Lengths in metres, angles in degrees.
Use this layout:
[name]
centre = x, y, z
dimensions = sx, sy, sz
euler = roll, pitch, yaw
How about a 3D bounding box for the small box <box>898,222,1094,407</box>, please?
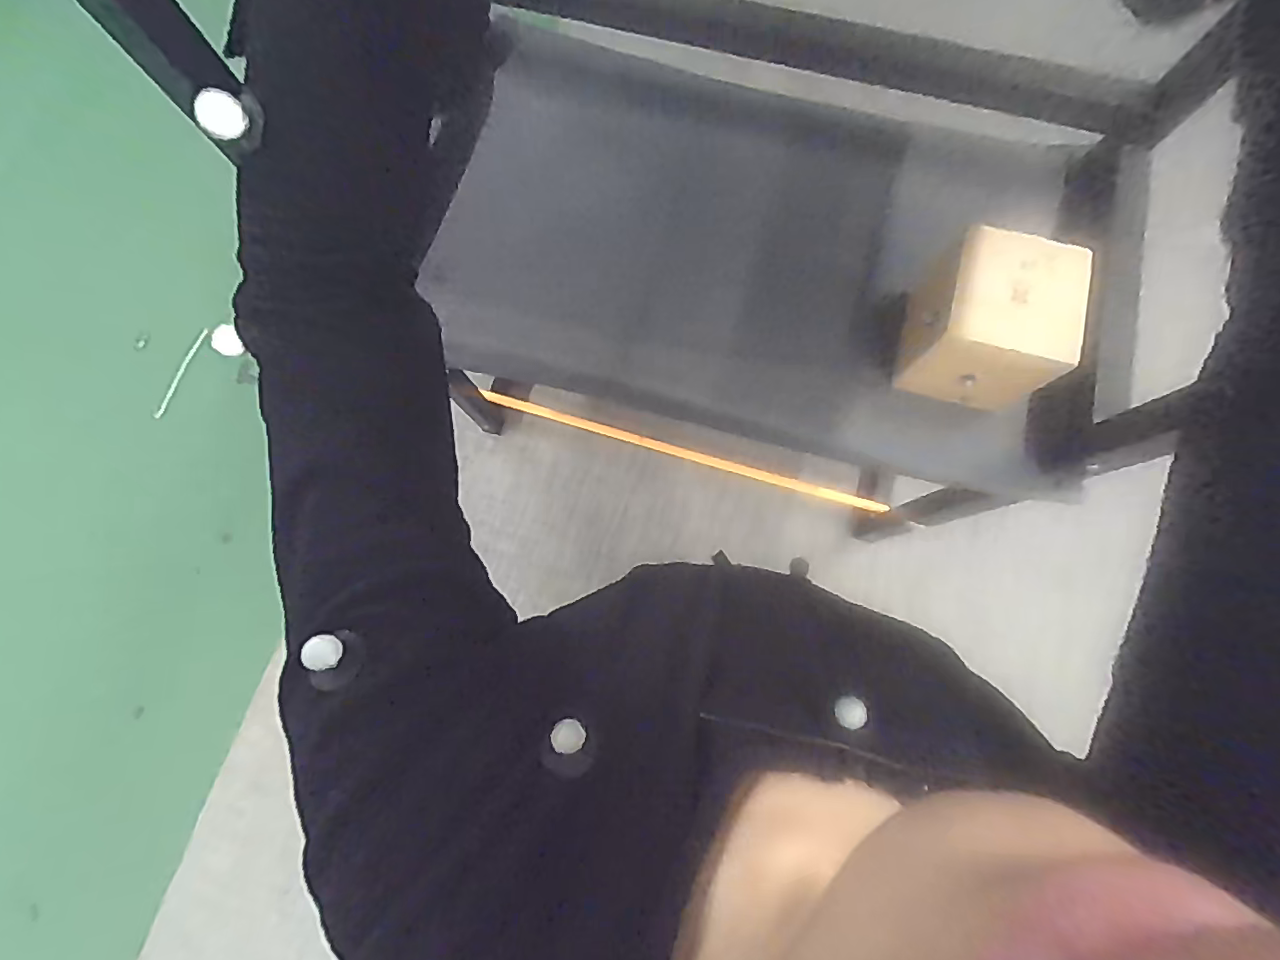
[small box]
centre = 0.494, -0.226, 0.775
dimensions = 0.168, 0.176, 0.179
euler = 16, 77, 5
